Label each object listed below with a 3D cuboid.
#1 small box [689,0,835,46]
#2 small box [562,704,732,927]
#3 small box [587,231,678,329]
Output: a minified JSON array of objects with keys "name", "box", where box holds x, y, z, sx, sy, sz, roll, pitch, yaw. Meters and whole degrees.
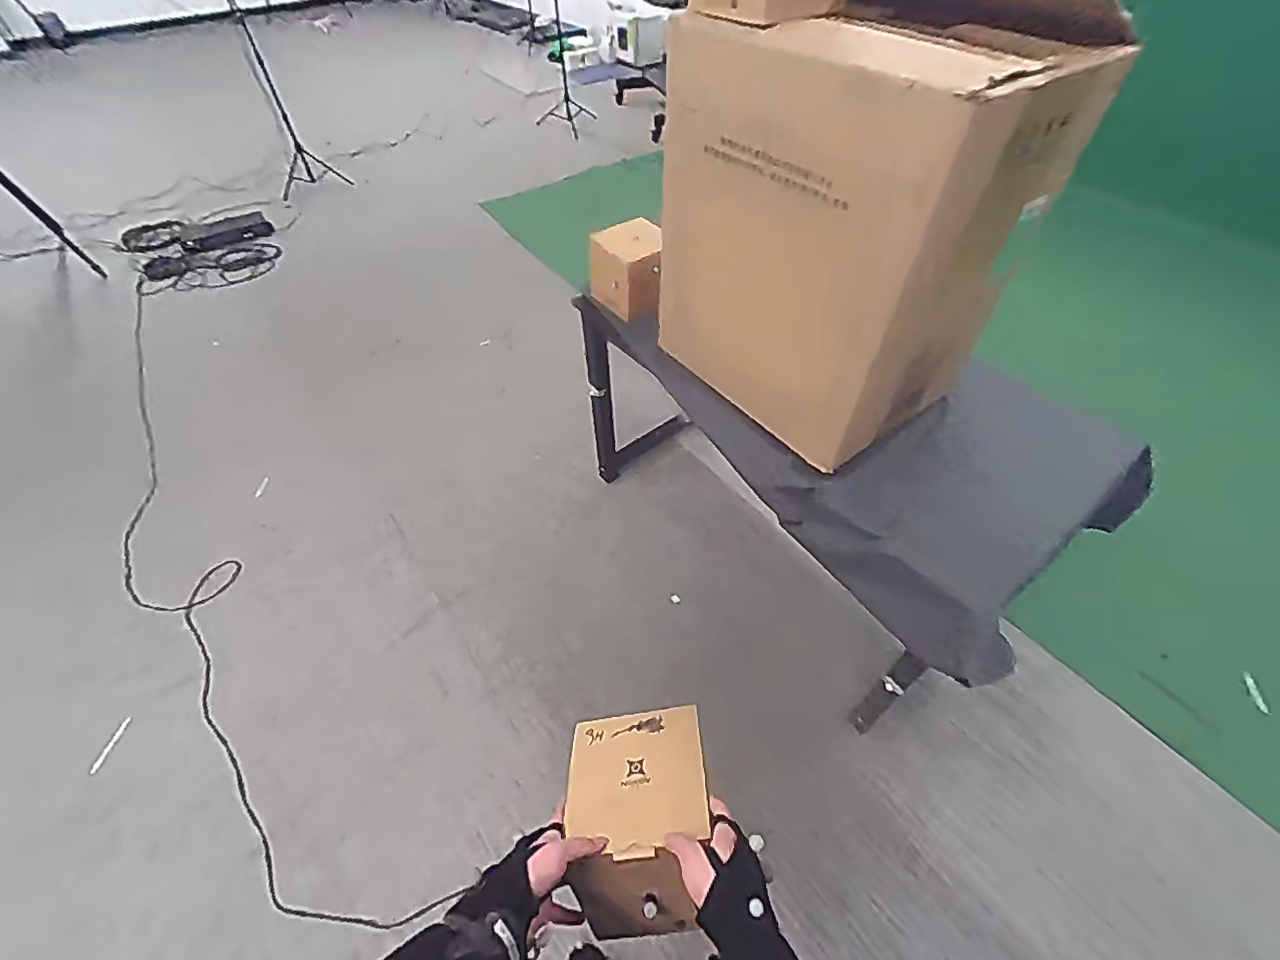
[{"name":"small box","box":[0.186,-0.769,0.798,0.179,0.176,0.168,-30,54,-22]},{"name":"small box","box":[0.013,0.417,0.673,0.168,0.176,0.179,-11,26,5]},{"name":"small box","box":[-0.019,-0.528,1.432,0.179,0.176,0.168,-31,57,-25]}]
